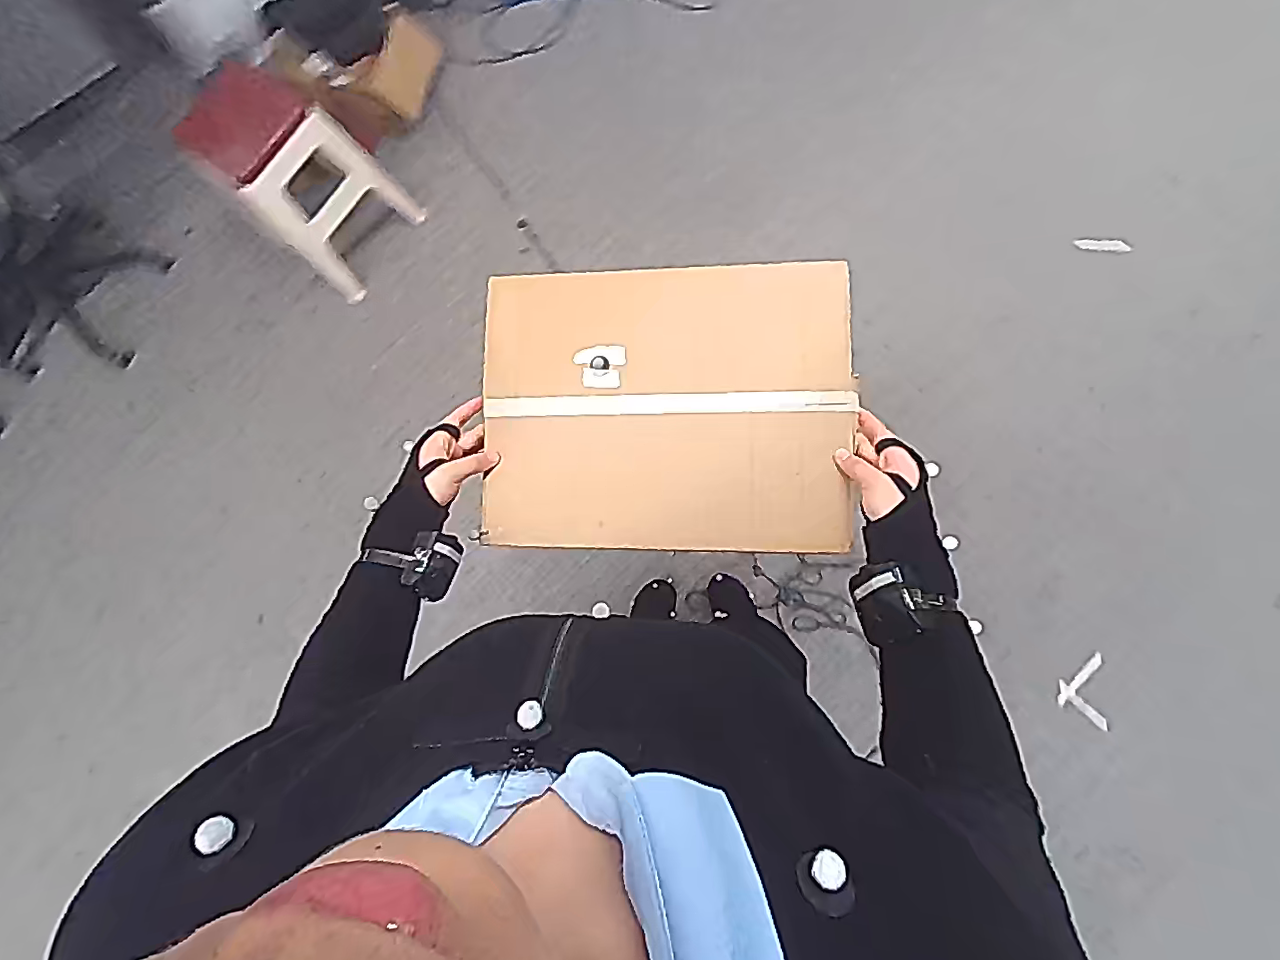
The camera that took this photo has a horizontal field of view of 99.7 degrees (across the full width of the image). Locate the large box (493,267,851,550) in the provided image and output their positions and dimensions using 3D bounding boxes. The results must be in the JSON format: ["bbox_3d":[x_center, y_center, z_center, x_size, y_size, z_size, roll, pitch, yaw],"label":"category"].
[{"bbox_3d":[0.050,-0.071,0.752,0.408,0.320,0.320,1,85,8],"label":"large box"}]
